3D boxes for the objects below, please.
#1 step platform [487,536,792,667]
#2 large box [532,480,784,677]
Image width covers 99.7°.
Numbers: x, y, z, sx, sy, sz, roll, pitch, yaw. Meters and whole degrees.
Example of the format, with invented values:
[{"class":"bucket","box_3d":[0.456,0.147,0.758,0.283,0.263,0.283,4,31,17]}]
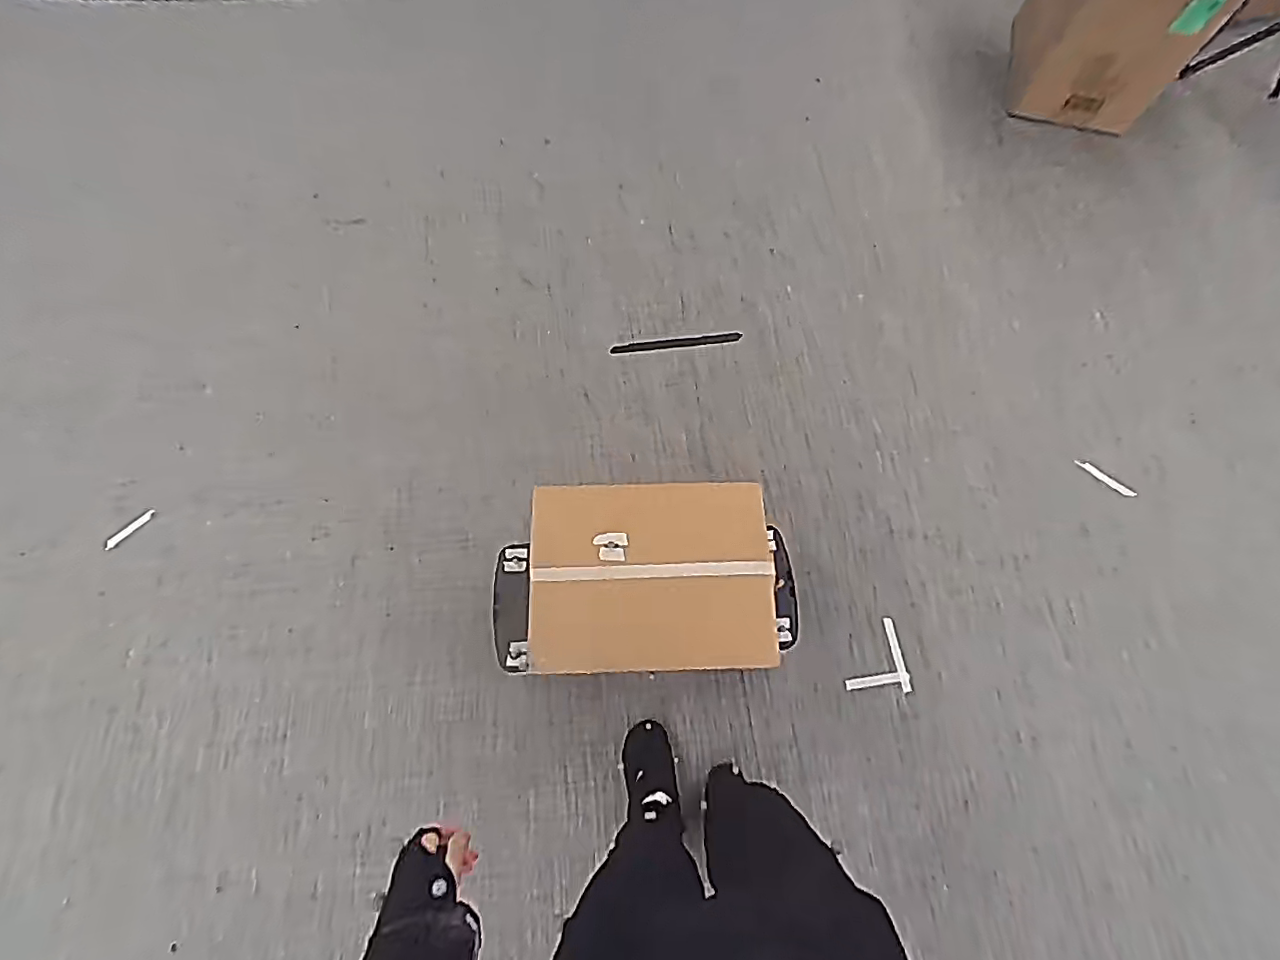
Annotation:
[{"class":"step platform","box_3d":[-0.001,0.282,1.256,0.684,0.204,0.286,0,71,1]},{"class":"large box","box_3d":[0.026,0.200,1.032,0.408,0.320,0.320,-2,71,0]}]
